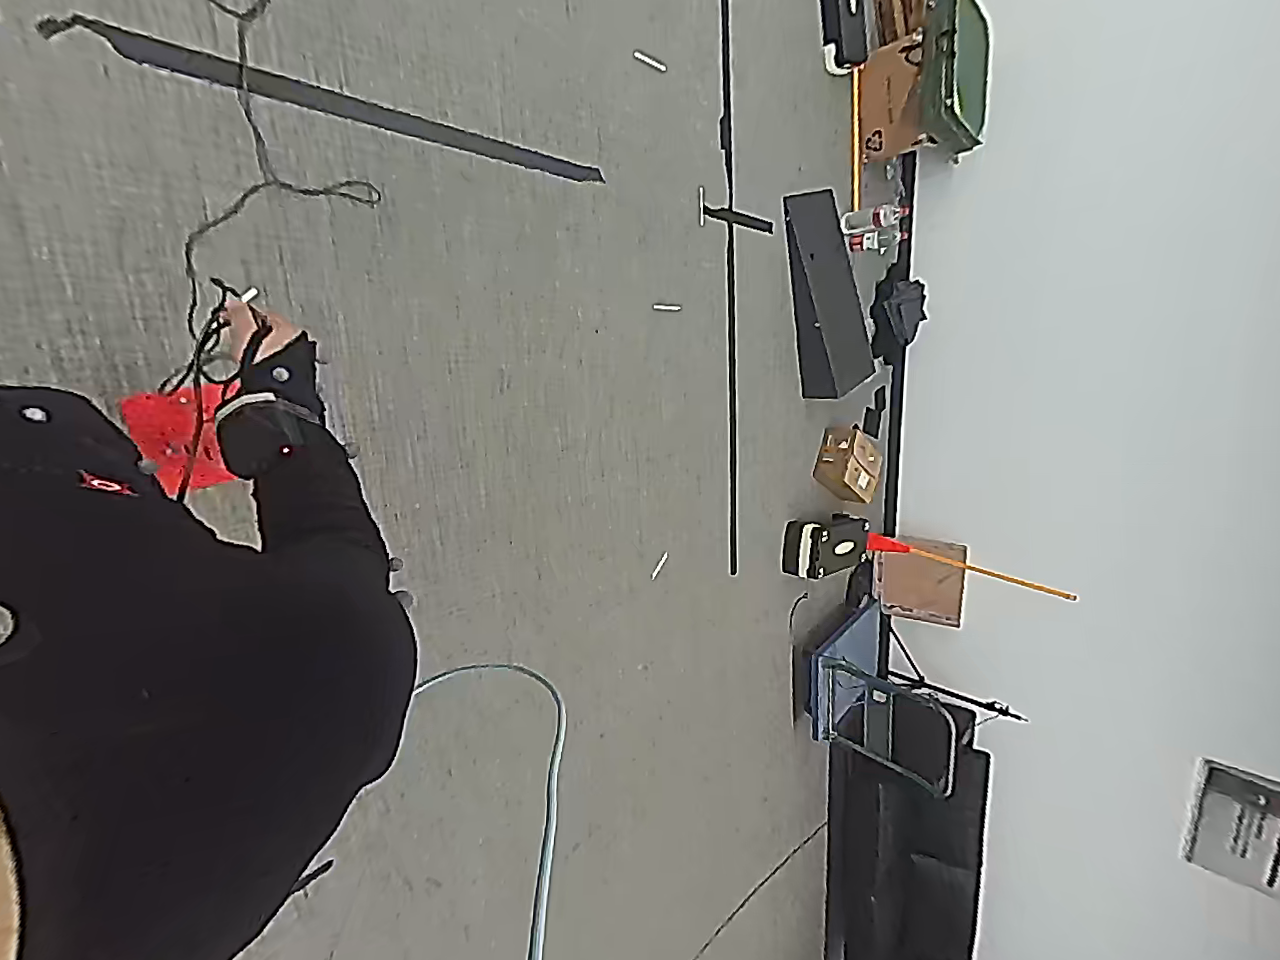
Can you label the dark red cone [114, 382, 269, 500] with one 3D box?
[{"bbox_3d":[-0.750,-0.063,0.946,0.202,0.394,0.201,-25,113,-41],"label":"dark red cone"}]
